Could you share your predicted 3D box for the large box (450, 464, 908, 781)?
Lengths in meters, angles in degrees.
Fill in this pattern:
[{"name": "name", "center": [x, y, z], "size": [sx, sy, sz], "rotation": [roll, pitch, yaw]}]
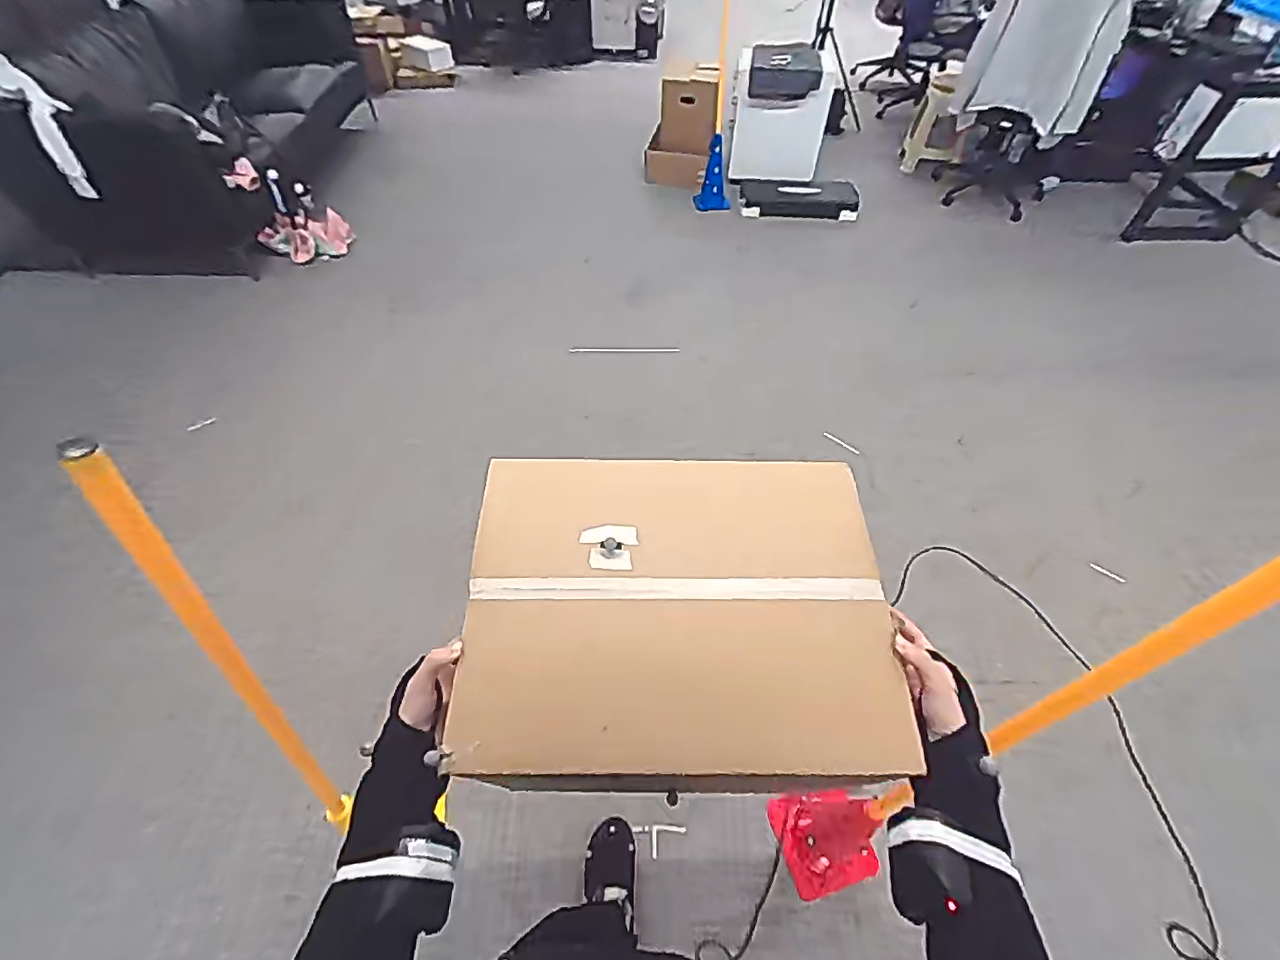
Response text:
[{"name": "large box", "center": [0.034, 0.191, 0.667], "size": [0.408, 0.320, 0.320], "rotation": [0, 58, 0]}]
